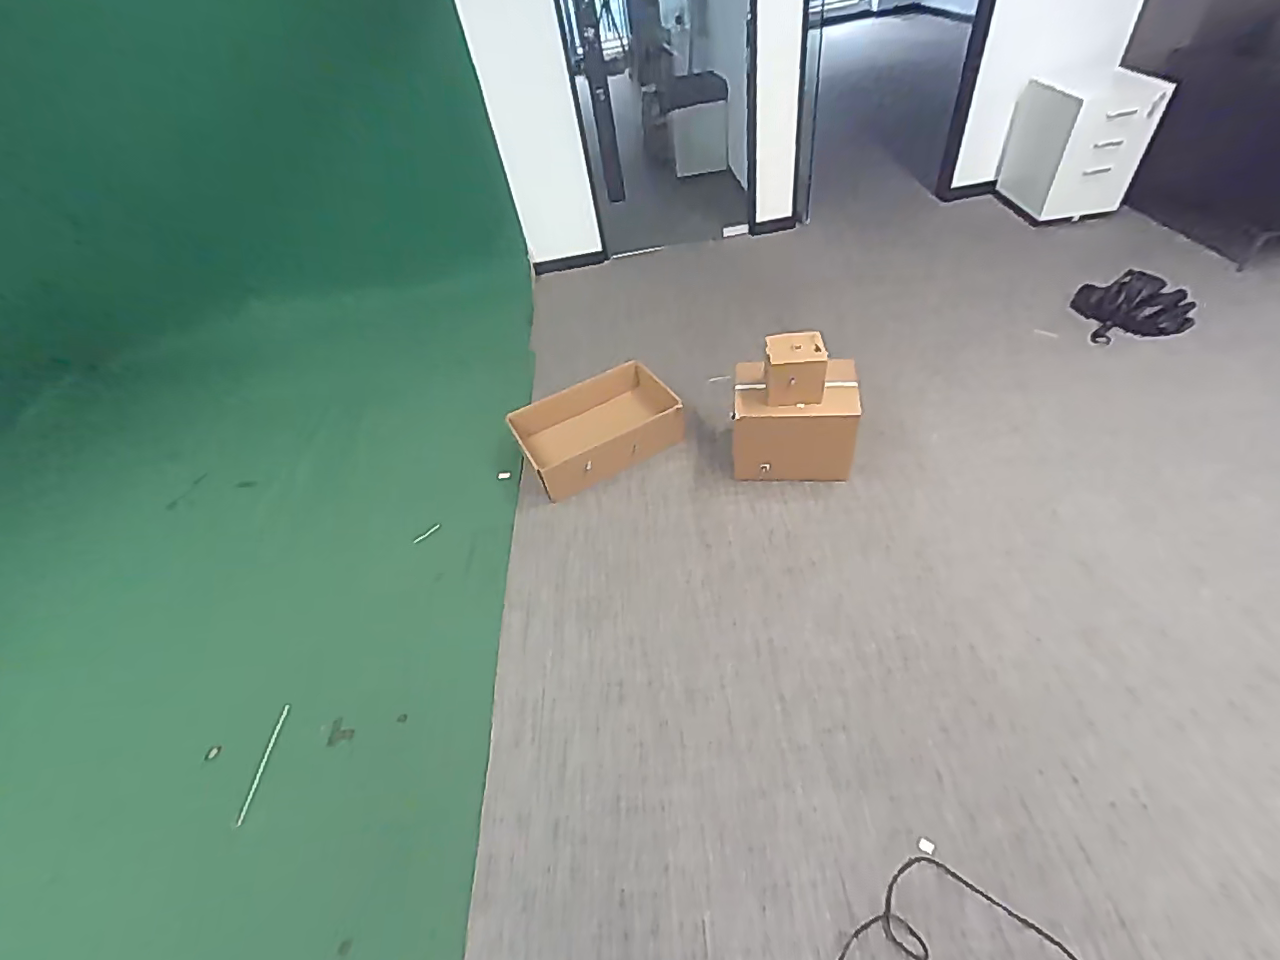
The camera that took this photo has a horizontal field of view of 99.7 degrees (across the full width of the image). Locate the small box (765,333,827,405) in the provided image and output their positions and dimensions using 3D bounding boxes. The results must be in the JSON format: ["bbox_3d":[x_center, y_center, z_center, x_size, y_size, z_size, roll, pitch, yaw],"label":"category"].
[{"bbox_3d":[0.506,-0.360,1.776,0.179,0.176,0.168,-4,47,9],"label":"small box"}]
